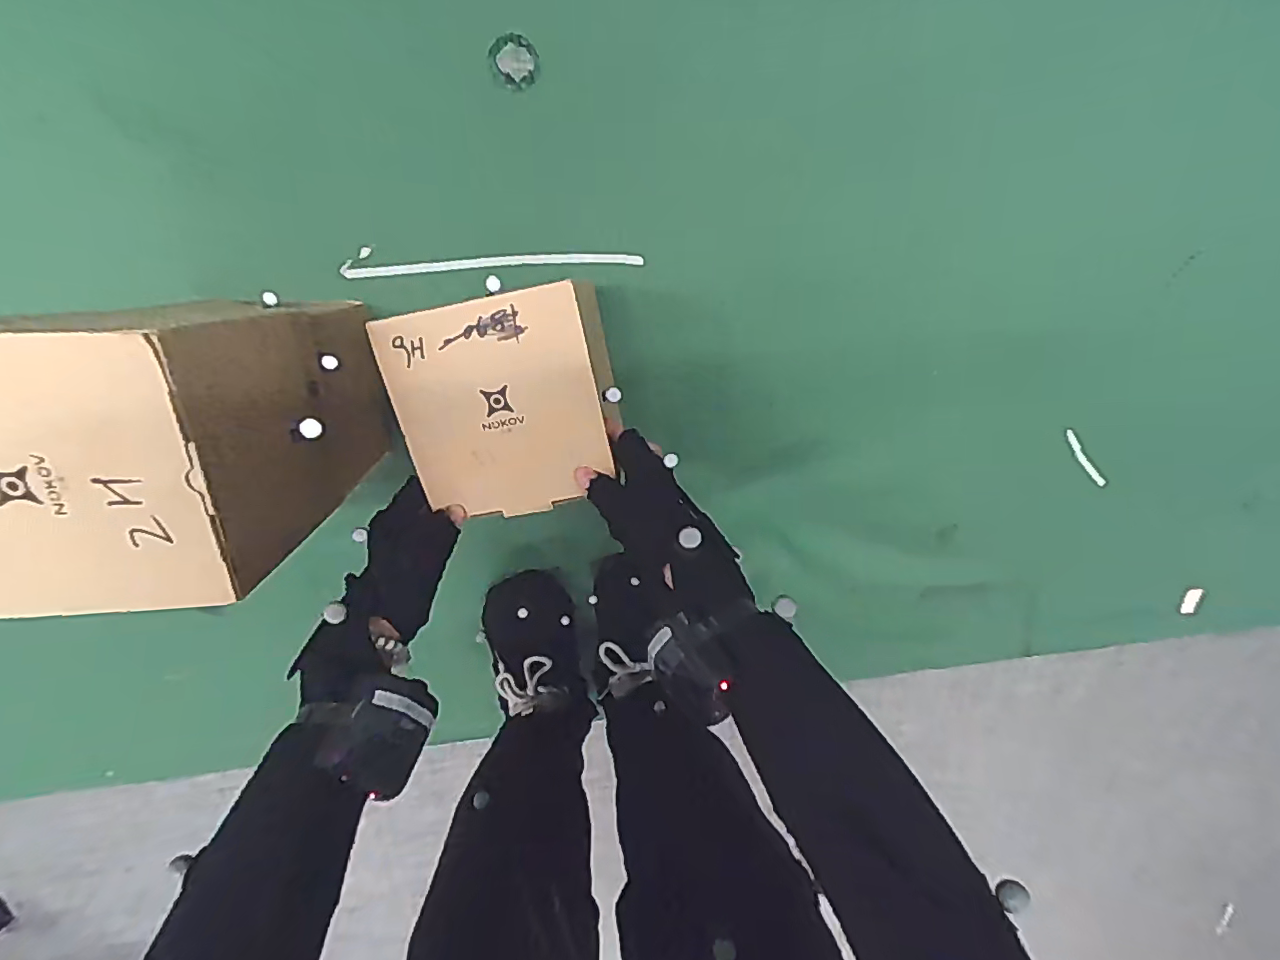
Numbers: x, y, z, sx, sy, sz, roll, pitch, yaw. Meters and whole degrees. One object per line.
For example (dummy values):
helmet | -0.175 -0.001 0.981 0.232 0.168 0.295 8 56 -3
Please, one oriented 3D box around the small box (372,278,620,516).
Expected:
small box | -0.113 -0.088 0.516 0.168 0.176 0.179 -10 110 3

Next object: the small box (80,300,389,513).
small box | -0.365 -0.080 0.532 0.168 0.176 0.179 -1 110 -6
